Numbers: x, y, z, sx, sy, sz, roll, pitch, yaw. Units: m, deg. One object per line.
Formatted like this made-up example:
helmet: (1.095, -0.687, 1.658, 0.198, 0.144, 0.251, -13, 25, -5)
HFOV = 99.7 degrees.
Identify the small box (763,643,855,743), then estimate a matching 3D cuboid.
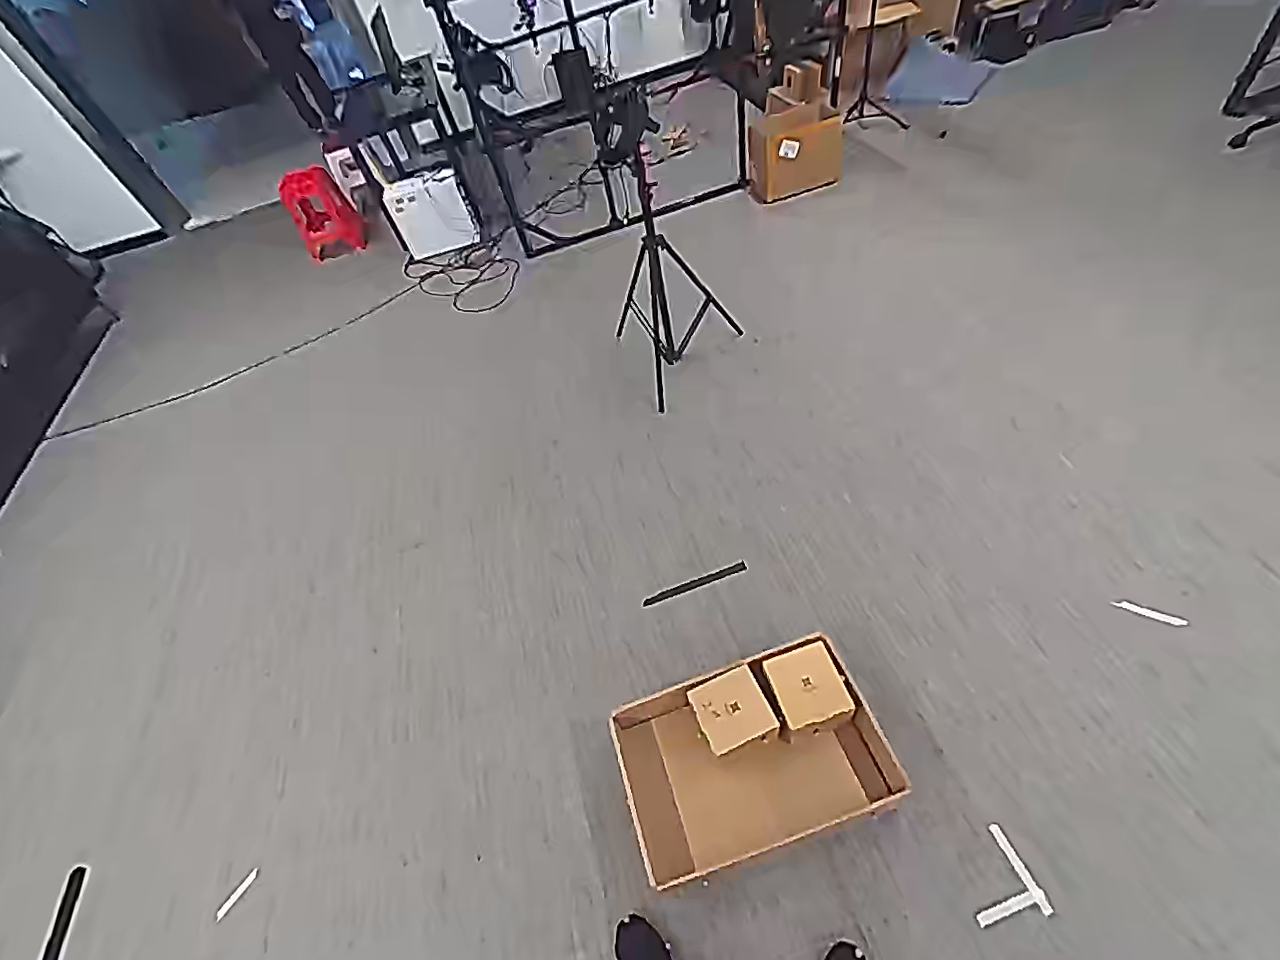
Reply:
small box: (0.426, 0.553, 1.396, 0.168, 0.176, 0.179, -20, 53, -1)
